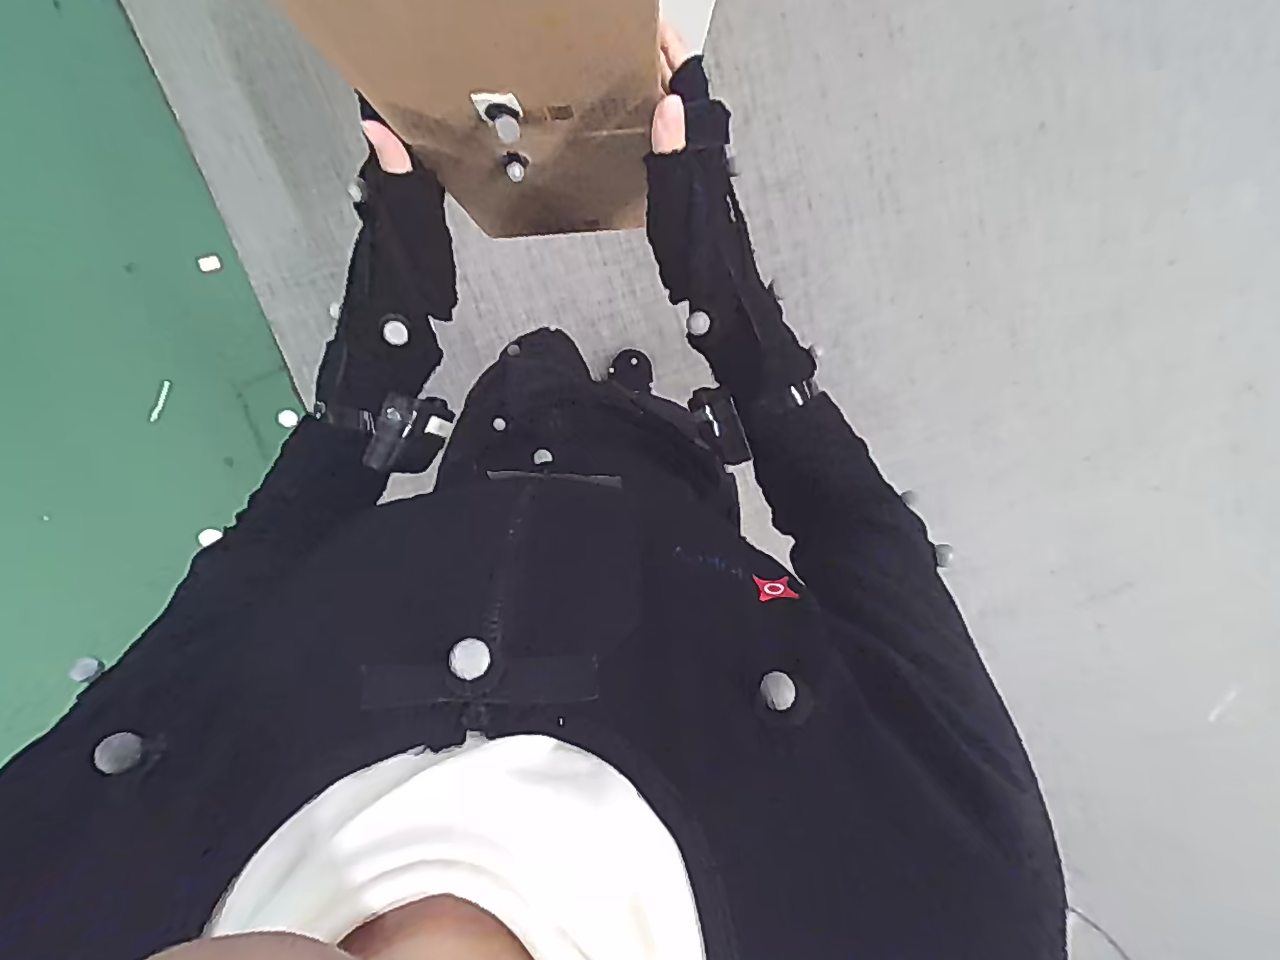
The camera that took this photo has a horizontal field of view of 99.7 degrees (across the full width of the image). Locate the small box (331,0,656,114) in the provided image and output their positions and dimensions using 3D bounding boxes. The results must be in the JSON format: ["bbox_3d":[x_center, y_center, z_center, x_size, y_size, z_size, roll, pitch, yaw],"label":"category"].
[{"bbox_3d":[-0.082,-0.316,0.251,0.168,0.176,0.179,-6,96,3],"label":"small box"}]

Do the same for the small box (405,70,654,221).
[{"bbox_3d":[-0.075,-0.332,0.431,0.168,0.176,0.179,-3,95,3],"label":"small box"}]
